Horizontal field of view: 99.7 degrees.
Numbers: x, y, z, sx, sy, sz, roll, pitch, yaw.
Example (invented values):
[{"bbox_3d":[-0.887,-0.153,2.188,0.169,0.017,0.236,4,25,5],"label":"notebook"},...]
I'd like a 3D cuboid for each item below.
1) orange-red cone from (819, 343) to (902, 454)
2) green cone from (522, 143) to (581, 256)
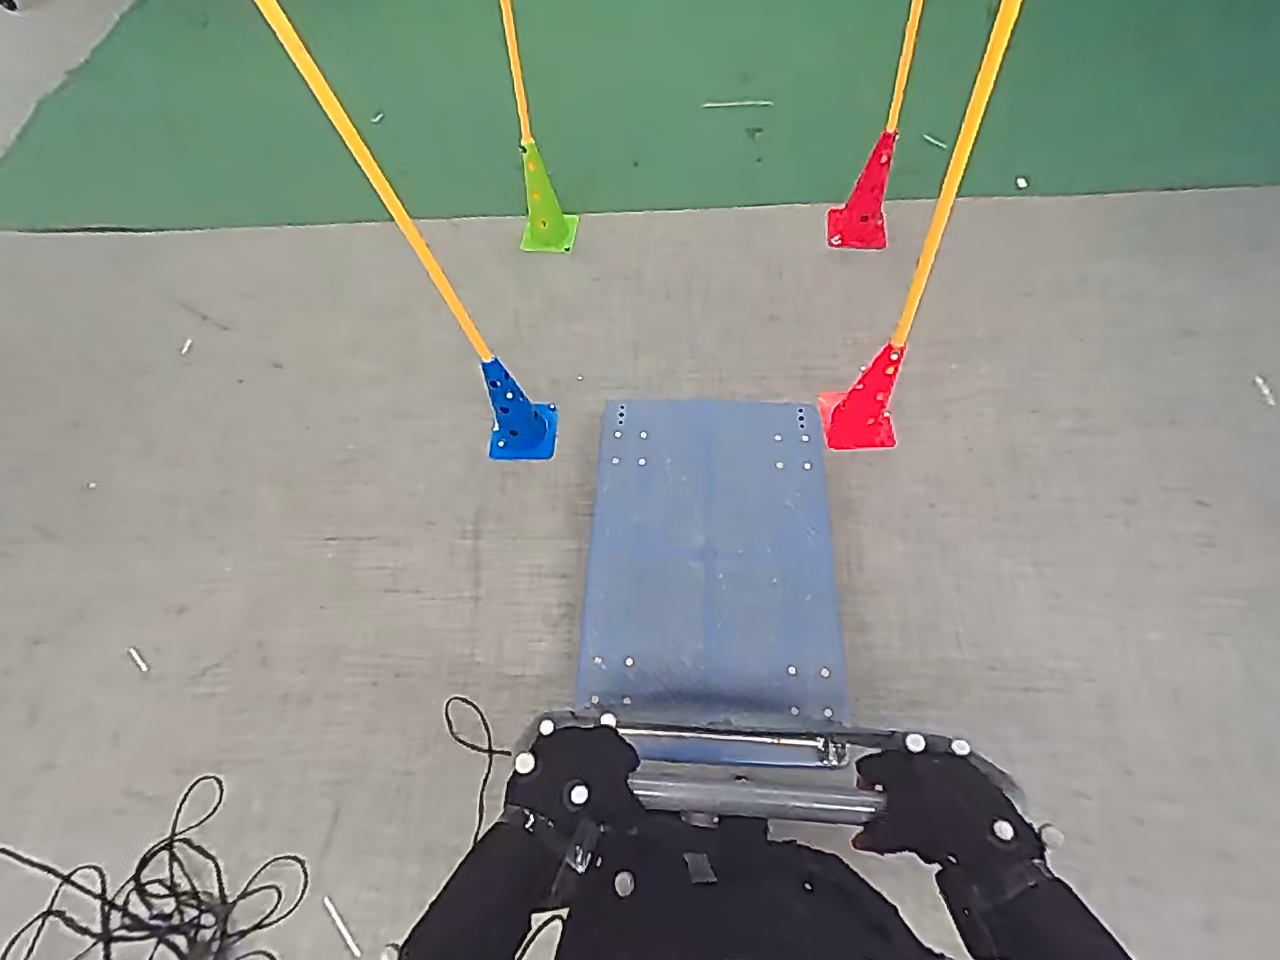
[{"bbox_3d":[0.636,-0.243,1.480,0.199,0.360,0.198,-2,63,5],"label":"orange-red cone"},{"bbox_3d":[-0.347,-1.007,1.917,0.202,0.368,0.200,3,64,7],"label":"green cone"}]
